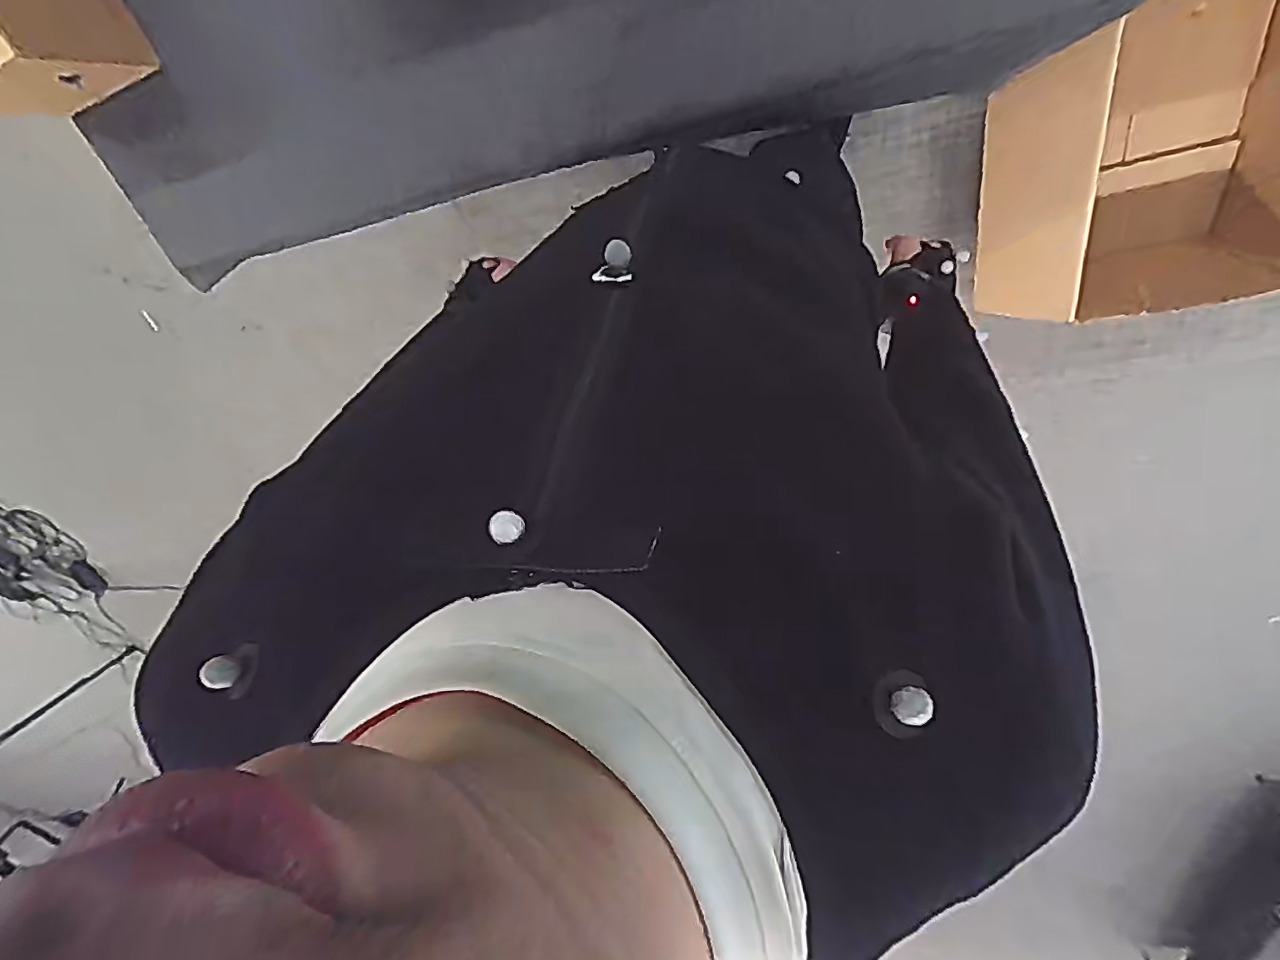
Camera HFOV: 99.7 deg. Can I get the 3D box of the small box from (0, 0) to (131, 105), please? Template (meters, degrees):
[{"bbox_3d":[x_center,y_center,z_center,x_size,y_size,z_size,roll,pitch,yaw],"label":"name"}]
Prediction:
[{"bbox_3d":[-0.697,-0.511,0.558,0.179,0.176,0.168,-9,122,18],"label":"small box"}]
